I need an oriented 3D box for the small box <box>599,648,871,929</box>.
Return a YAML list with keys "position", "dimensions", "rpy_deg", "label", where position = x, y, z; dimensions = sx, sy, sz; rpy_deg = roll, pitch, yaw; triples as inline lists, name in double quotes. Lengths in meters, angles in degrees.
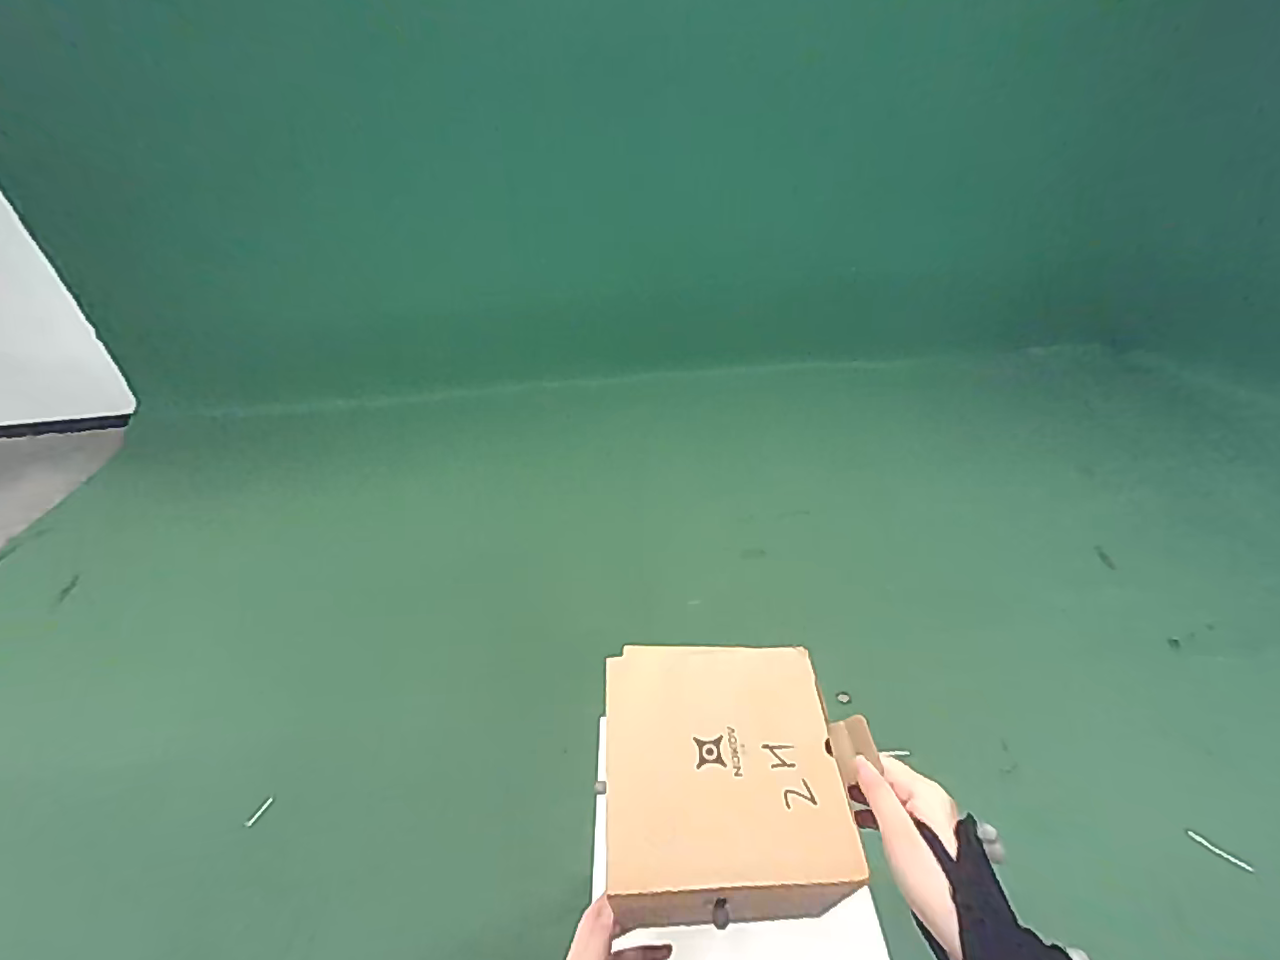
- position: [0.061, 0.258, 0.452]
  dimensions: [0.179, 0.176, 0.168]
  rpy_deg: [-2, 46, -1]
  label: "small box"
